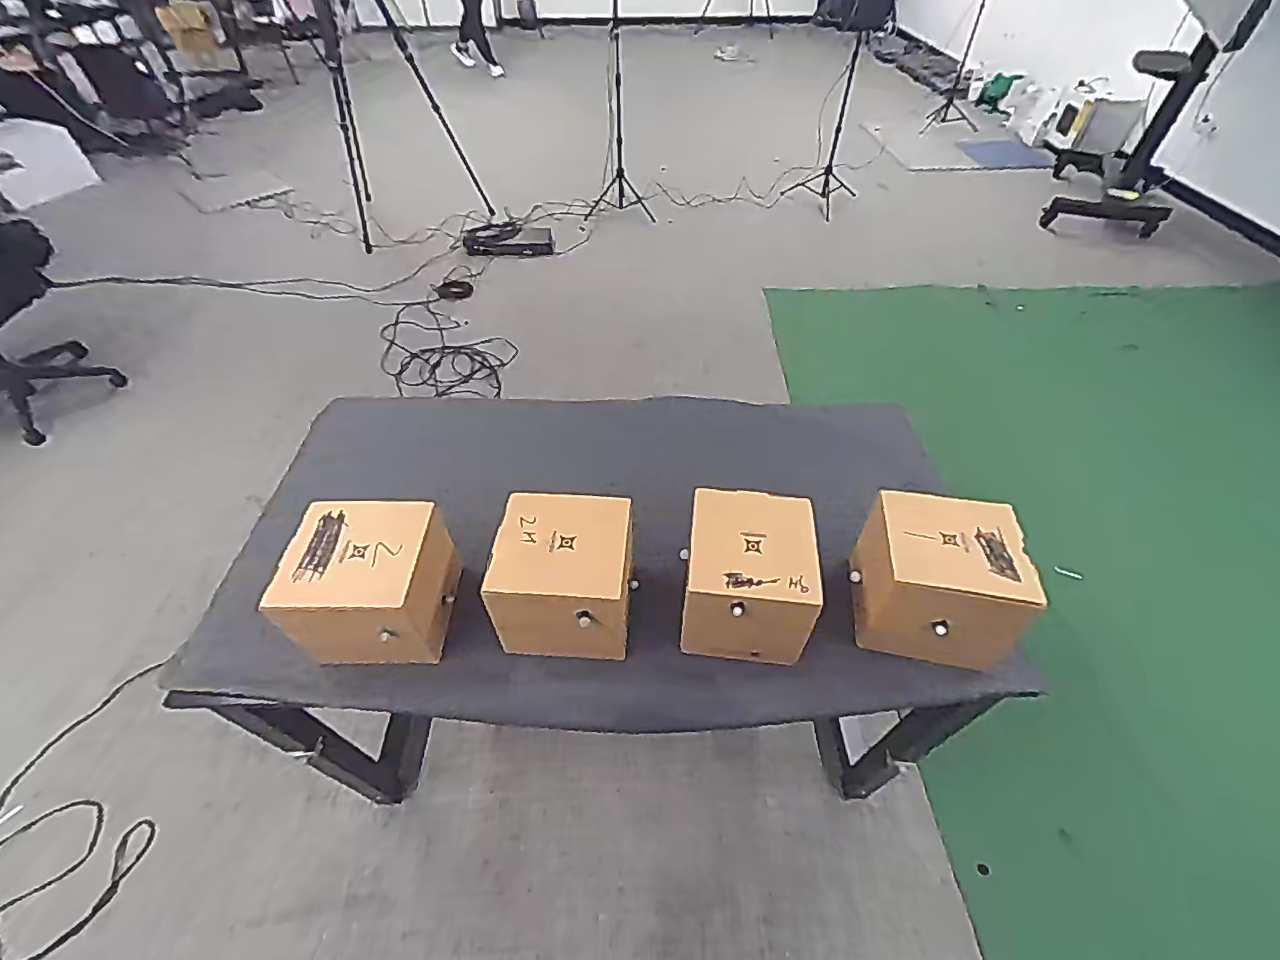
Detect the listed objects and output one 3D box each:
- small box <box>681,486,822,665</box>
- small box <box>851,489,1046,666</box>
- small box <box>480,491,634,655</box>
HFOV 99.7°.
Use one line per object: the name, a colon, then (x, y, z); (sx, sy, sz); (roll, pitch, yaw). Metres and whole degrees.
small box: (0.149, 0.135, 0.767); (0.168, 0.176, 0.179); (6, 47, 6)
small box: (0.410, 0.138, 0.756); (0.179, 0.176, 0.168); (8, 45, 10)
small box: (-0.102, 0.135, 0.768); (0.179, 0.176, 0.168); (2, 47, 4)
